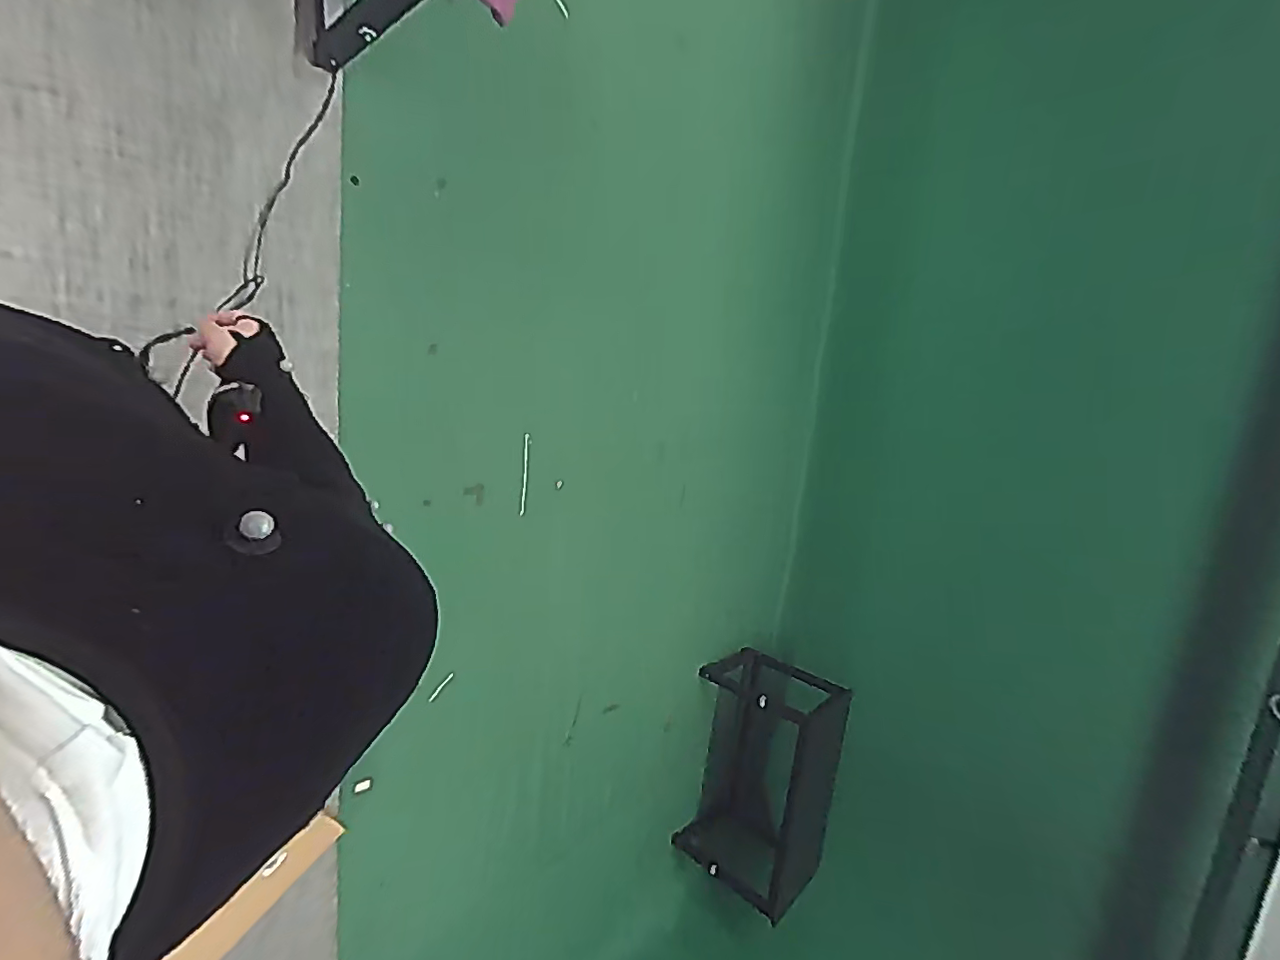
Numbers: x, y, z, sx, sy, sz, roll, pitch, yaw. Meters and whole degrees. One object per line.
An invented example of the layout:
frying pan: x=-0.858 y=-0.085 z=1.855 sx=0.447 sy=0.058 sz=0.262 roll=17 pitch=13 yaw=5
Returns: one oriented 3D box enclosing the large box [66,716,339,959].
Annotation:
large box: x=-1.078 y=0.900 z=1.359 sx=0.408 sy=0.320 sz=0.320 roll=-45 pitch=132 yaw=-33
